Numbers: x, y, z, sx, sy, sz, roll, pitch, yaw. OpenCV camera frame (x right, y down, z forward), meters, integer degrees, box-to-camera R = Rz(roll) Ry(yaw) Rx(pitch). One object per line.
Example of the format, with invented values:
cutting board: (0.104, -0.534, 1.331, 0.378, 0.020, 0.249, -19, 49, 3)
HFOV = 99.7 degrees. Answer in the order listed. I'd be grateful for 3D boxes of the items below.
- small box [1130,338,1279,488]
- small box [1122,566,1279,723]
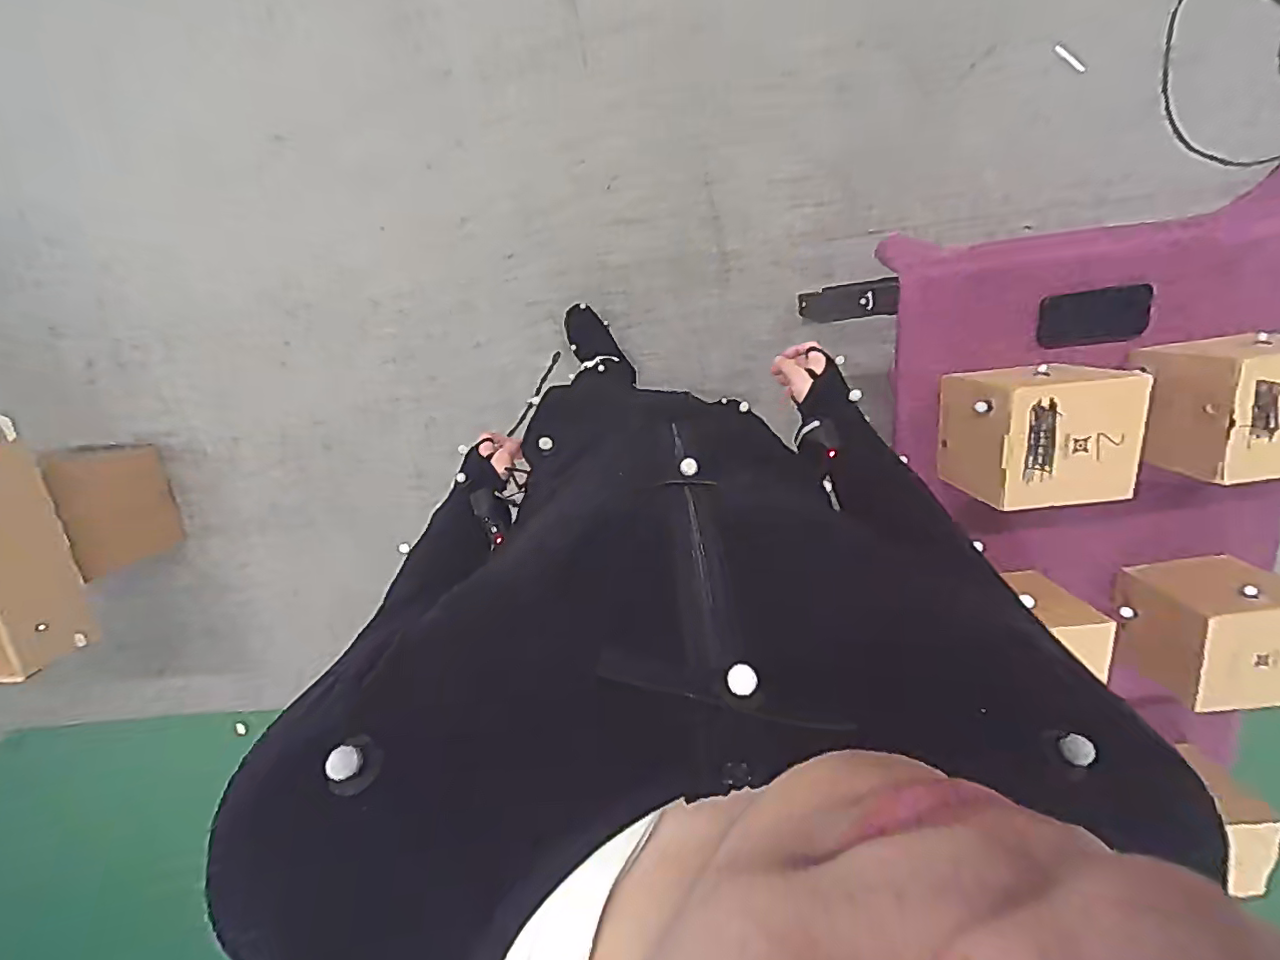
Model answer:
small box: (0.829, -0.098, 0.738, 0.179, 0.176, 0.168, -8, 106, 4)
small box: (0.907, 0.245, 0.837, 0.179, 0.176, 0.168, -7, 105, 5)
